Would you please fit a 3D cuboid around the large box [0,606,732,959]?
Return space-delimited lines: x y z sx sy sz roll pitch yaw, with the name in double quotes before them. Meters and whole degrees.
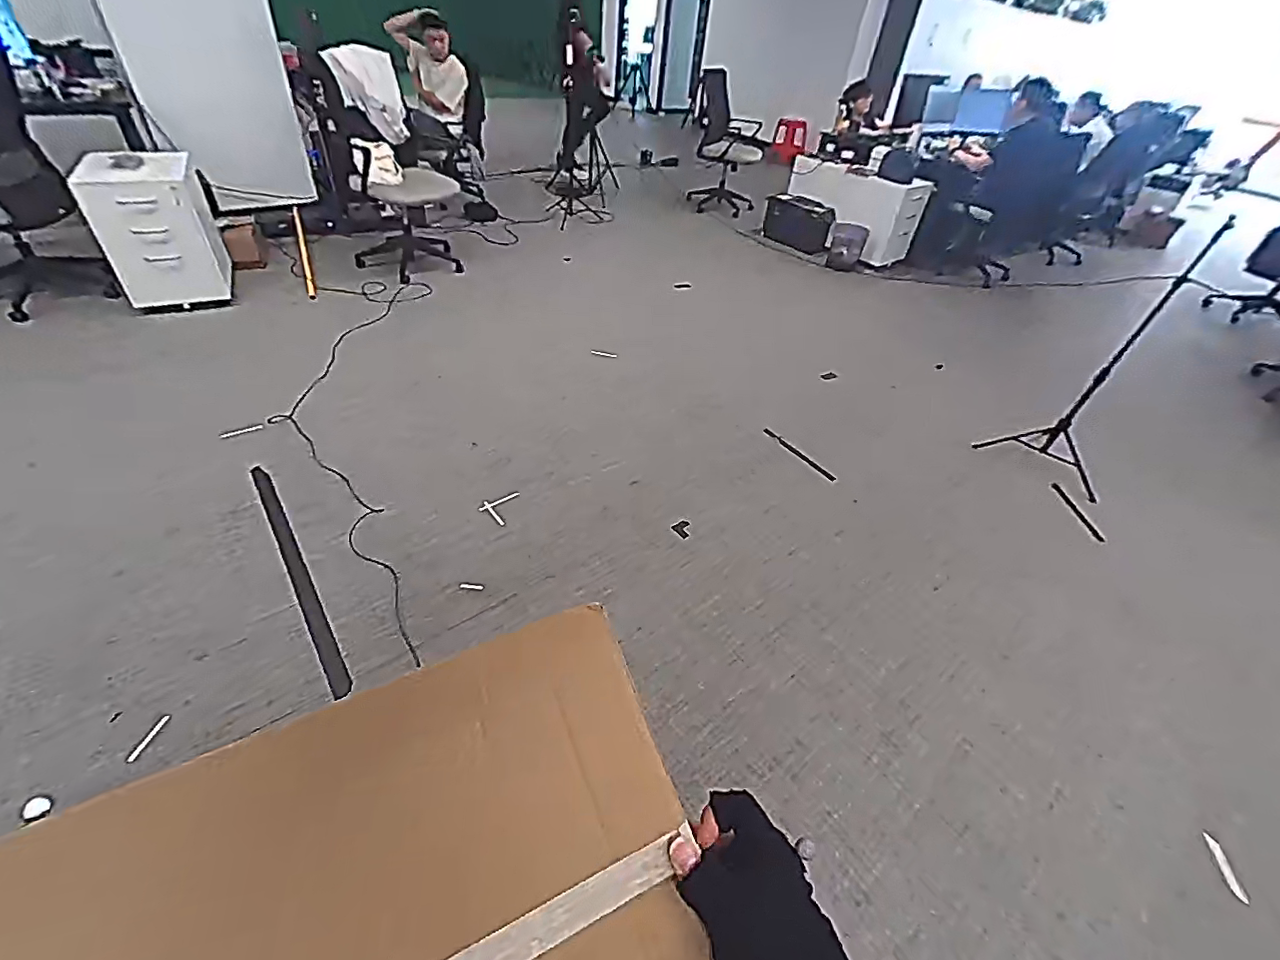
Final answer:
"large box" -0.184 0.334 0.413 0.408 0.320 0.320 -18 77 -19
